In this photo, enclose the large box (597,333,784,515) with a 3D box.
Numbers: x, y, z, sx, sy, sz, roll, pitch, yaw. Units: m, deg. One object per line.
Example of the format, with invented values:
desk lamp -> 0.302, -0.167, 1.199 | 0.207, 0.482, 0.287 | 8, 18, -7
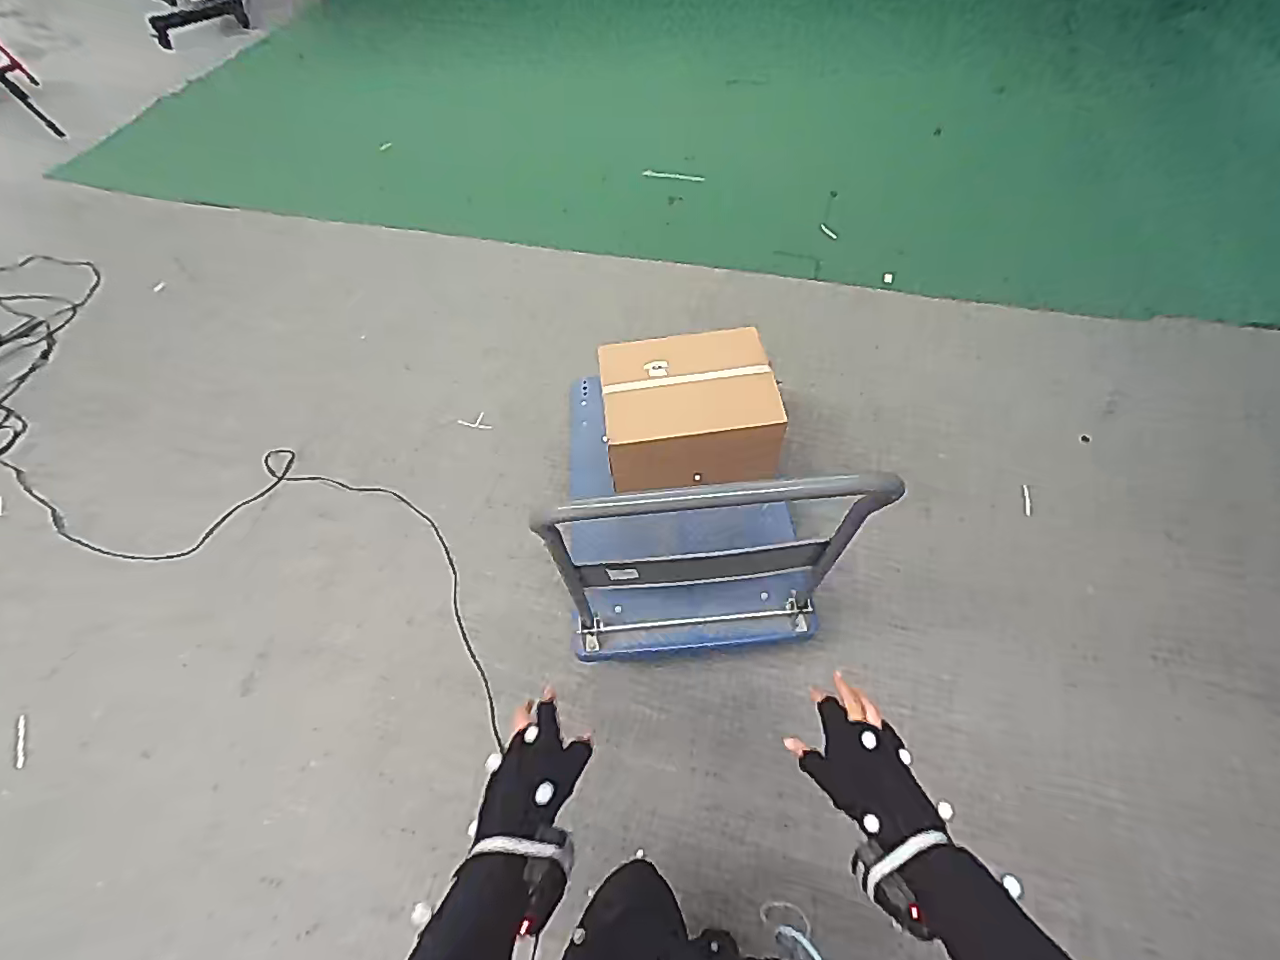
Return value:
large box -> 0.119, -0.137, 1.411 | 0.408, 0.320, 0.320 | -9, 56, -1
